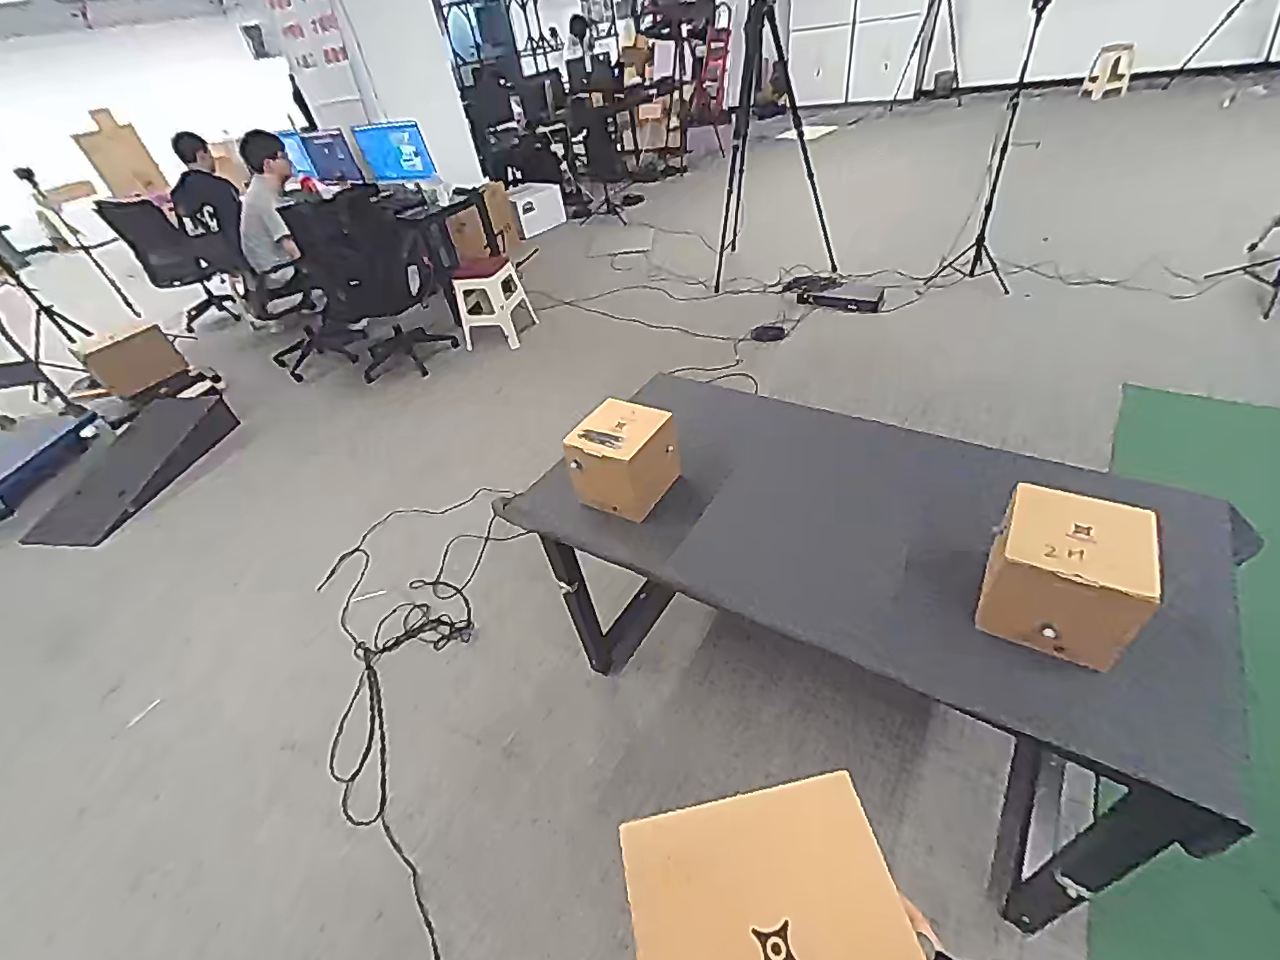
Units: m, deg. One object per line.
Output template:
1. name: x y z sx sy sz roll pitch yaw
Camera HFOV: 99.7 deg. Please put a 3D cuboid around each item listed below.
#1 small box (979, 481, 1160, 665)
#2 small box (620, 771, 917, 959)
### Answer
1. small box: 0.622 0.133 0.797 0.168 0.176 0.179 16 47 30
2. small box: 0.086 0.339 0.378 0.168 0.176 0.179 -12 44 -3
